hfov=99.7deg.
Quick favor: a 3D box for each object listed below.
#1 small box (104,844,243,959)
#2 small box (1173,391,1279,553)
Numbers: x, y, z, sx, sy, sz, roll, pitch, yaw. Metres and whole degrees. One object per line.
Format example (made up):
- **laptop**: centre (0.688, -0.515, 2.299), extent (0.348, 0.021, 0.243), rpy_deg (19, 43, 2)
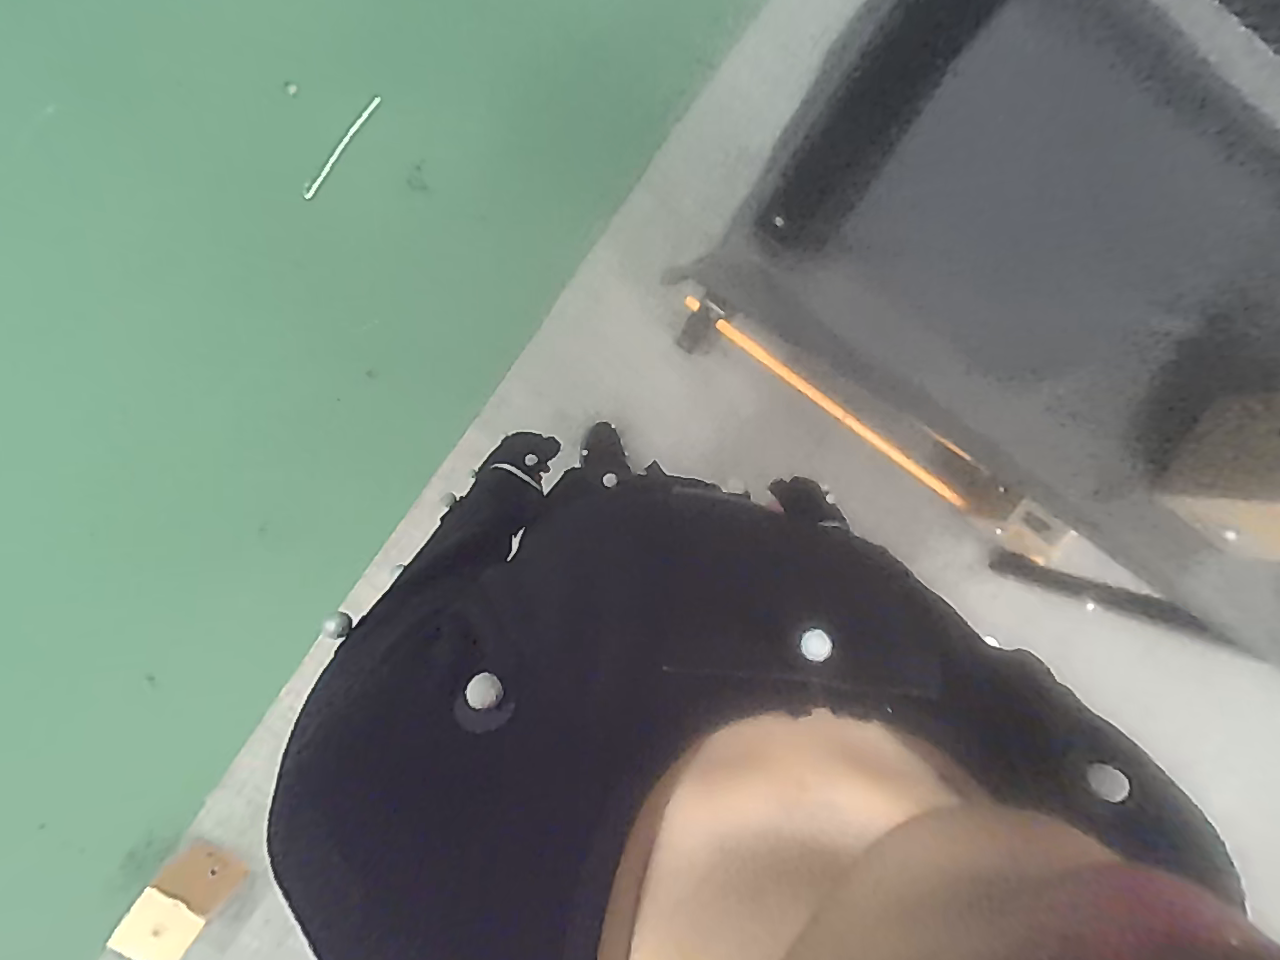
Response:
- **small box**: centre (-1.162, 1.081, 1.364), extent (0.168, 0.176, 0.179), rpy_deg (35, 90, -5)
- **small box**: centre (0.882, -0.010, 0.713), extent (0.168, 0.176, 0.179), rpy_deg (34, 89, -4)
